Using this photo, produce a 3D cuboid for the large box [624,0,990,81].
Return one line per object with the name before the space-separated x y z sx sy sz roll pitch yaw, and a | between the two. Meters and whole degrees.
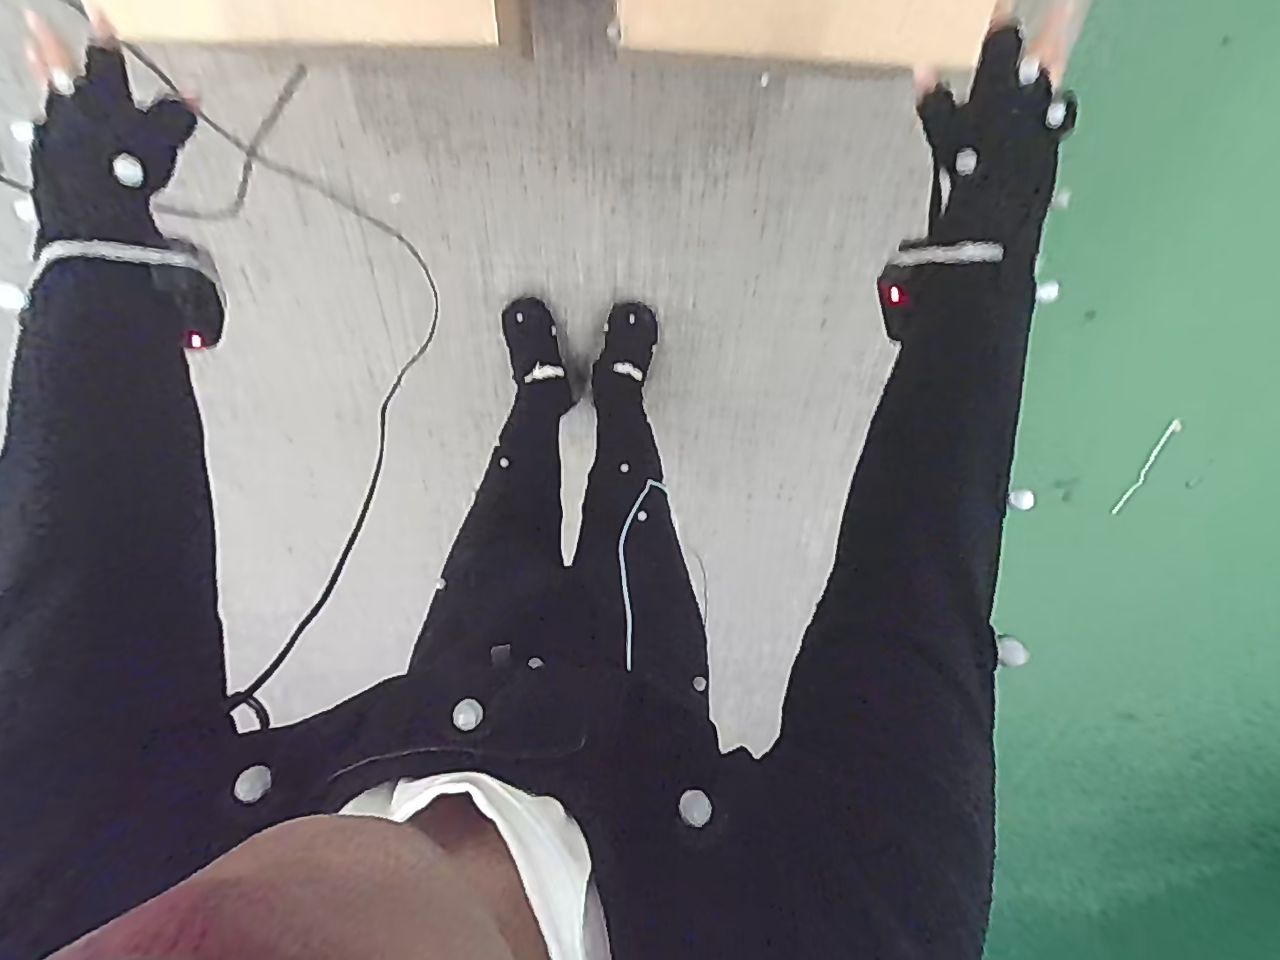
large box | 0.187 -0.683 0.654 0.408 0.320 0.320 2 124 -3
